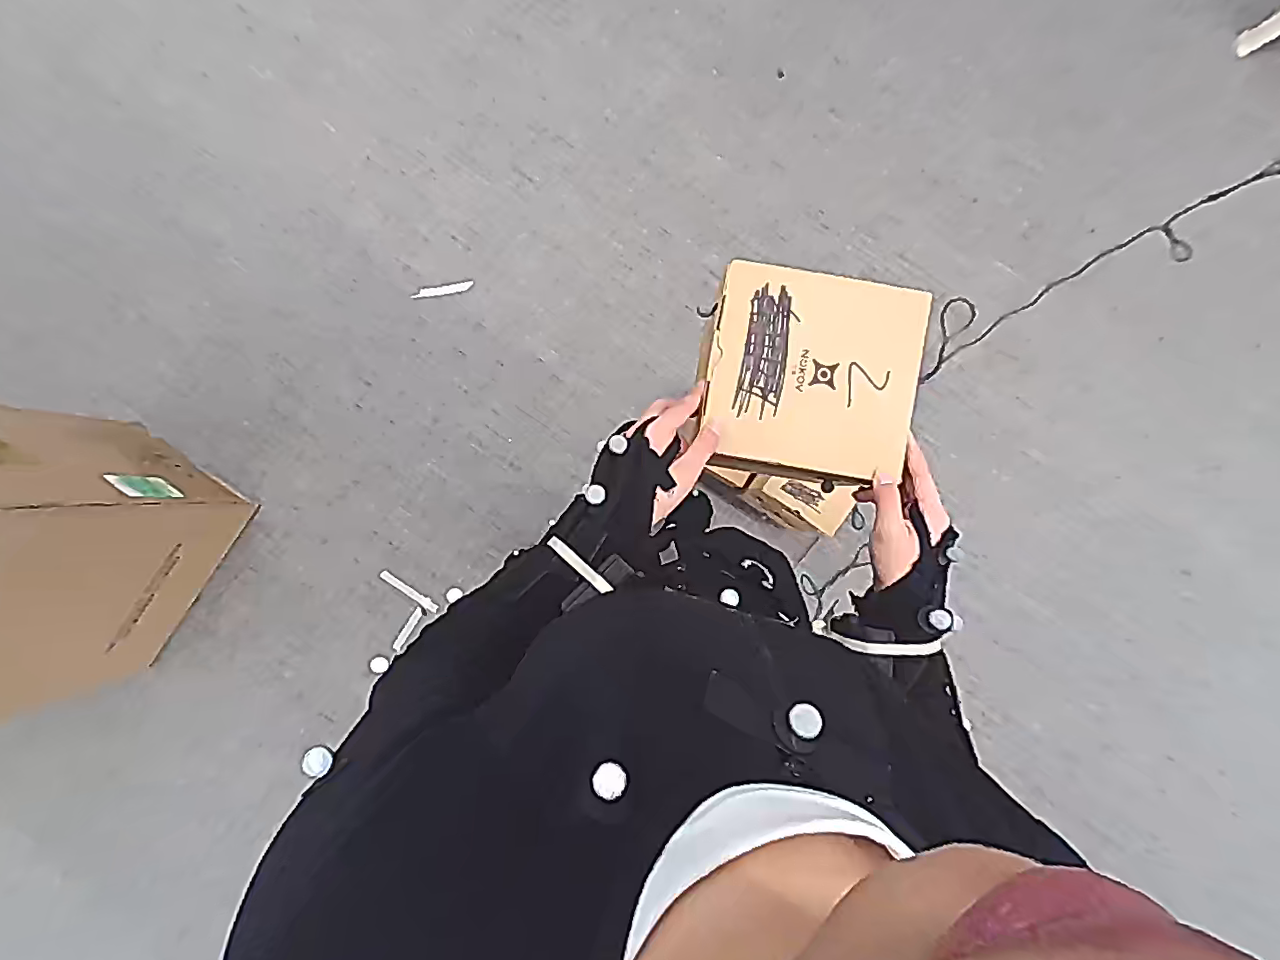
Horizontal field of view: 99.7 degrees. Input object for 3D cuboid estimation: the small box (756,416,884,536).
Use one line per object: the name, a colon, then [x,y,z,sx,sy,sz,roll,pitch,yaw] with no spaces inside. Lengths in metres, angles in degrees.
small box: [0.357,-0.006,1.117,0.168,0.176,0.179,36,89,2]
